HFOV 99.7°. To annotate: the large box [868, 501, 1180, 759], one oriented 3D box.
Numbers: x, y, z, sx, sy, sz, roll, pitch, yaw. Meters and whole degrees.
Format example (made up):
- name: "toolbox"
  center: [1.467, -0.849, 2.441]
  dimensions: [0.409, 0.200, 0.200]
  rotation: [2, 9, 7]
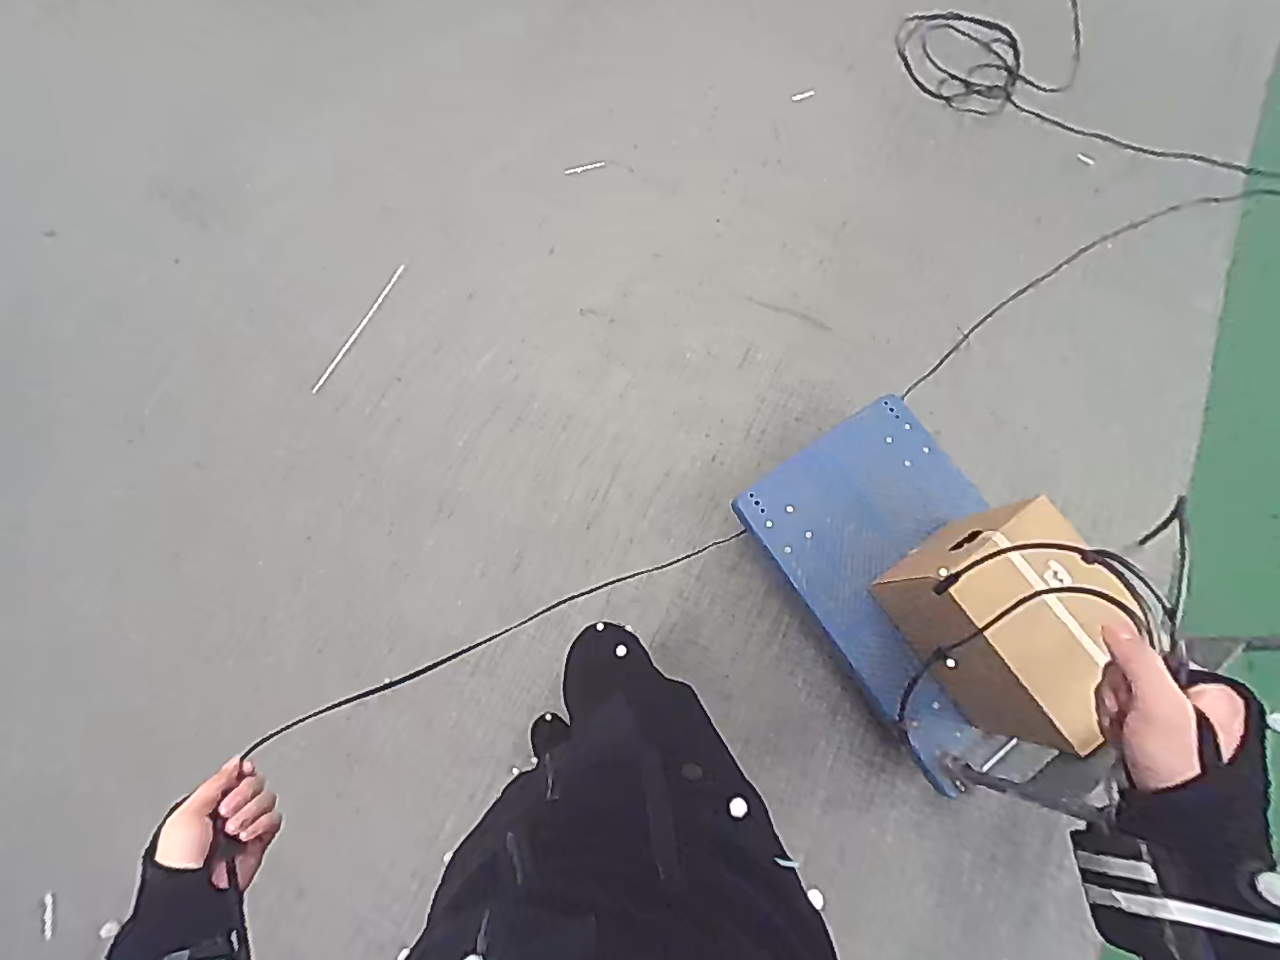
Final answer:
- name: "large box"
  center: [0.809, 0.318, 1.202]
  dimensions: [0.320, 0.320, 0.408]
  rotation: [-33, 79, -12]
